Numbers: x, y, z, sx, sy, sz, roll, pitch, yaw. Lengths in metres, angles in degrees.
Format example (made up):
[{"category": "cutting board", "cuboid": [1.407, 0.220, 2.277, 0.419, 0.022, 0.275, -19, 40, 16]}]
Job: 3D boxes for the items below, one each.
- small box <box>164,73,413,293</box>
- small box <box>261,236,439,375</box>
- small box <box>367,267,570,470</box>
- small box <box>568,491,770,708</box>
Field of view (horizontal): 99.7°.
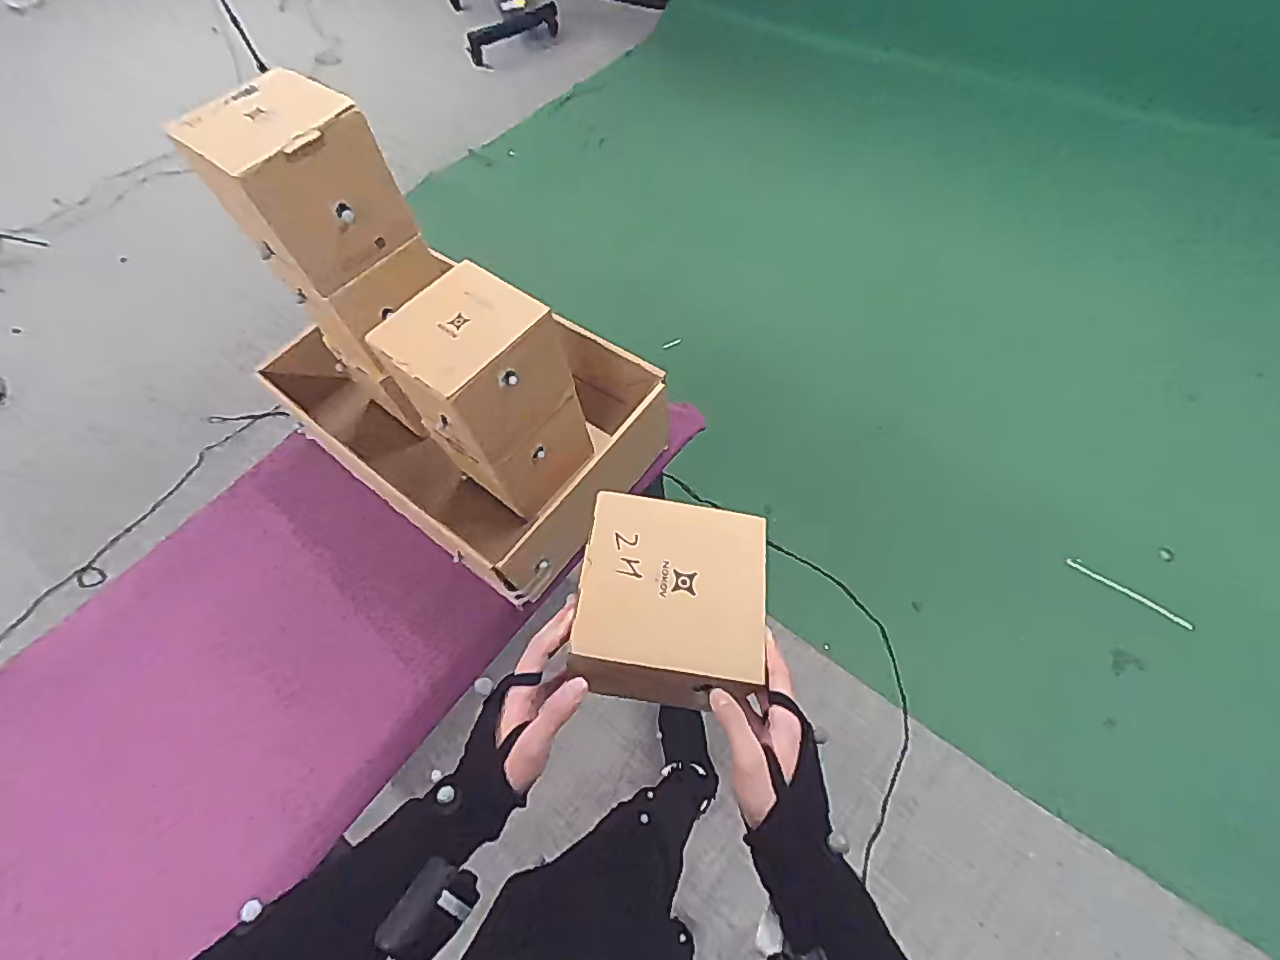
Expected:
[{"category": "small box", "cuboid": [-0.432, -0.372, 0.695, 0.179, 0.176, 0.168, 35, 69, 20]}, {"category": "small box", "cuboid": [-0.420, -0.290, 0.837, 0.179, 0.176, 0.168, 35, 69, 21]}, {"category": "small box", "cuboid": [-0.218, -0.145, 0.736, 0.168, 0.176, 0.179, 35, 69, 22]}, {"category": "small box", "cuboid": [0.026, 0.135, 0.573, 0.179, 0.176, 0.168, 10, 58, -2]}]
